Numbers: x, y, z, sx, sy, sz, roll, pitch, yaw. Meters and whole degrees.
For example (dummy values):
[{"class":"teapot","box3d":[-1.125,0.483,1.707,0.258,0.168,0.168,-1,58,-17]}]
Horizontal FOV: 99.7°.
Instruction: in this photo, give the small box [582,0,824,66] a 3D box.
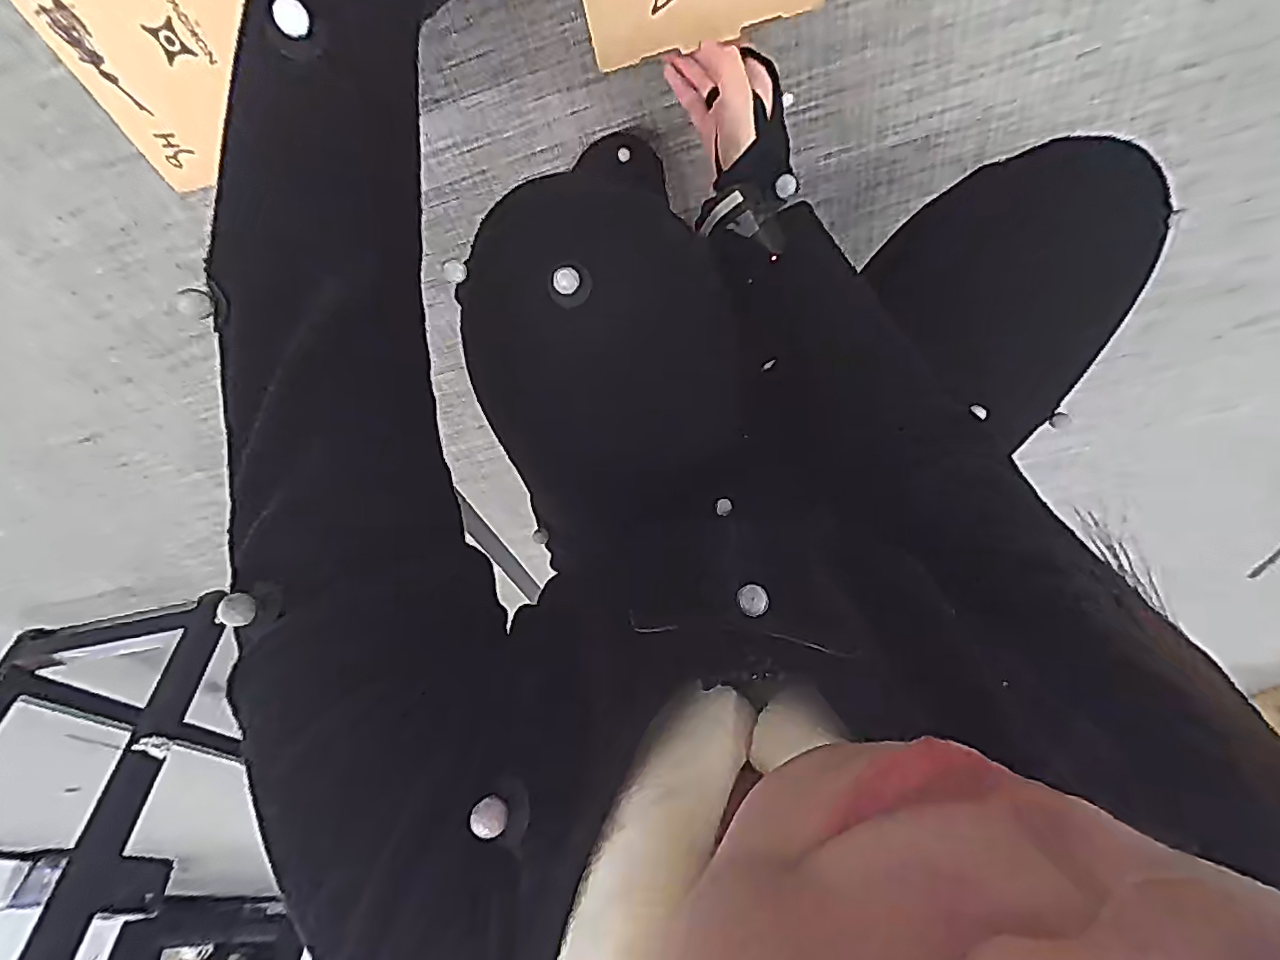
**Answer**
[{"class":"small box","box3d":[0.024,-0.425,0.366,0.168,0.176,0.179,-11,140,7]}]
